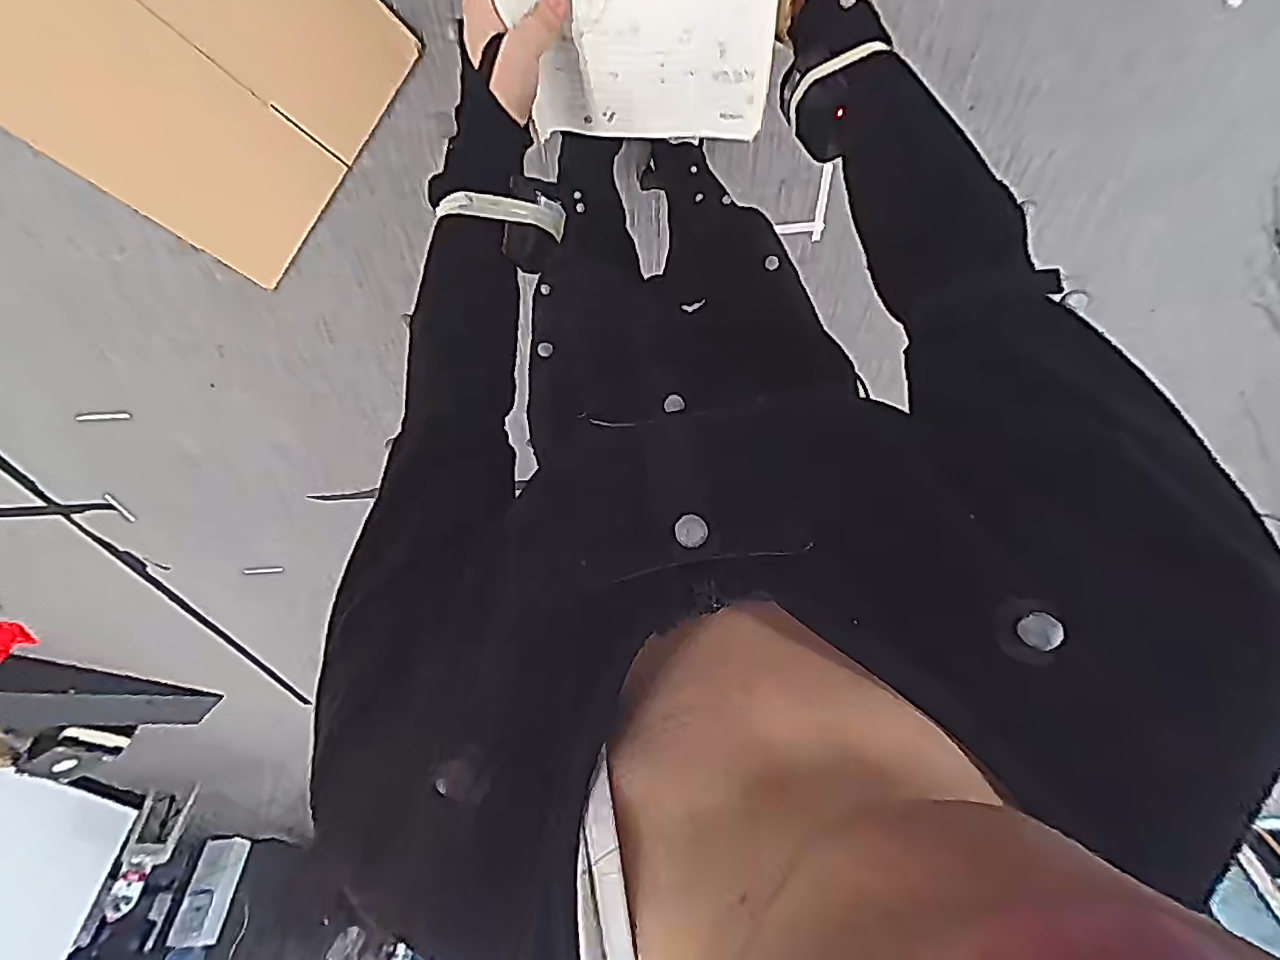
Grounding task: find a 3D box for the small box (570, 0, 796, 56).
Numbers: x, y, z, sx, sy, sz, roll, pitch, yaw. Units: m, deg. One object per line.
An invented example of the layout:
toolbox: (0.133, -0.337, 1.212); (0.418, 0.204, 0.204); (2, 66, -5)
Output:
small box: (0.020, -0.441, 0.399); (0.168, 0.176, 0.179); (-6, 136, 1)
